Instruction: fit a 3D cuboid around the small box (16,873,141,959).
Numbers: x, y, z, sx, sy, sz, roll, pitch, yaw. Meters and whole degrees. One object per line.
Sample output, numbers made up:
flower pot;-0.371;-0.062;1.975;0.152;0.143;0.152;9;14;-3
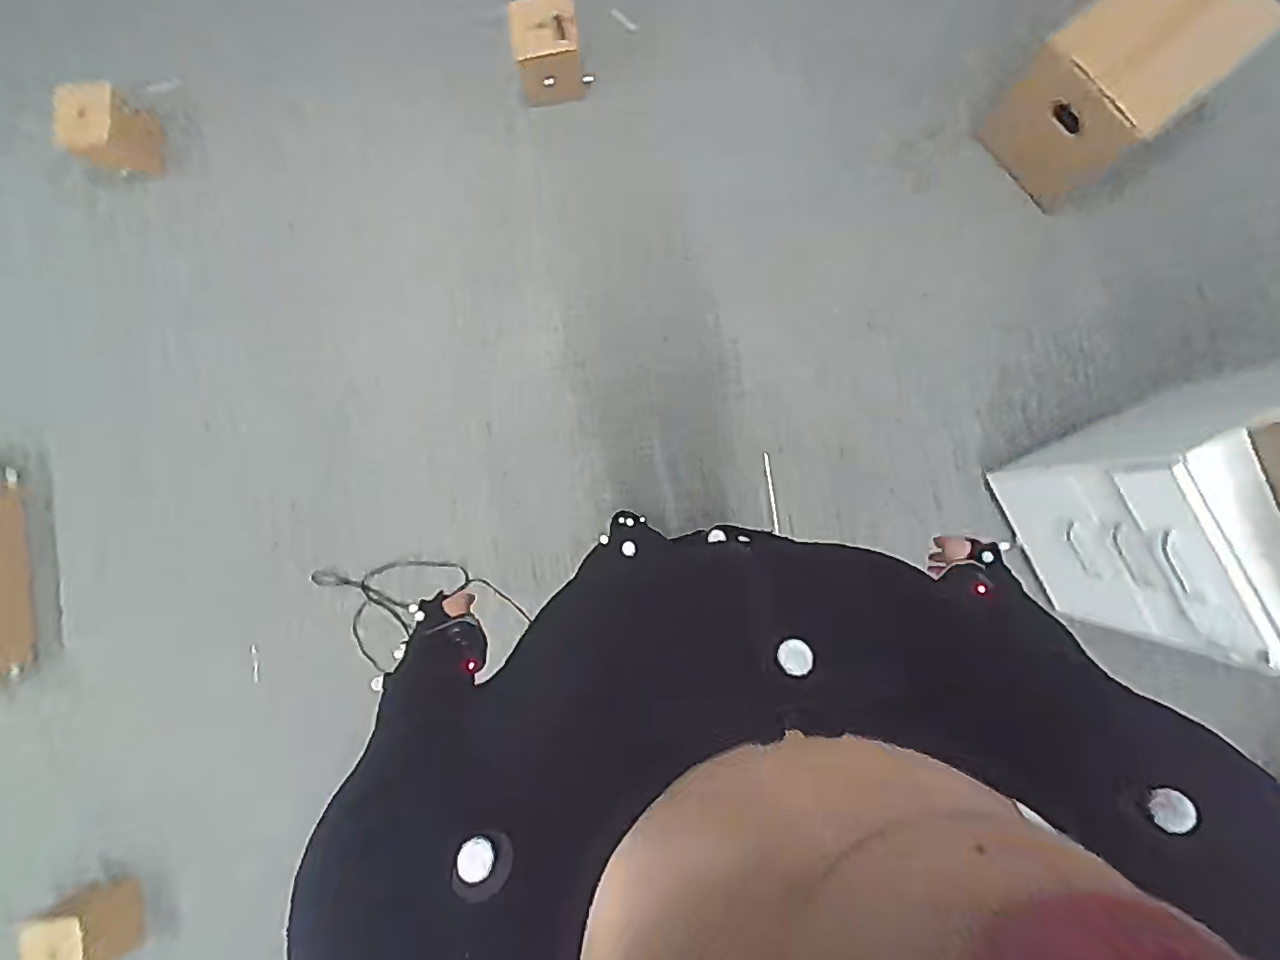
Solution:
small box;-1.489;1.201;1.446;0.168;0.176;0.179;-9;86;1

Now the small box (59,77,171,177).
small box;-1.494;-1.005;1.549;0.168;0.176;0.179;-2;87;3

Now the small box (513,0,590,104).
small box;-0.237;-1.187;1.498;0.179;0.176;0.168;-7;87;3
